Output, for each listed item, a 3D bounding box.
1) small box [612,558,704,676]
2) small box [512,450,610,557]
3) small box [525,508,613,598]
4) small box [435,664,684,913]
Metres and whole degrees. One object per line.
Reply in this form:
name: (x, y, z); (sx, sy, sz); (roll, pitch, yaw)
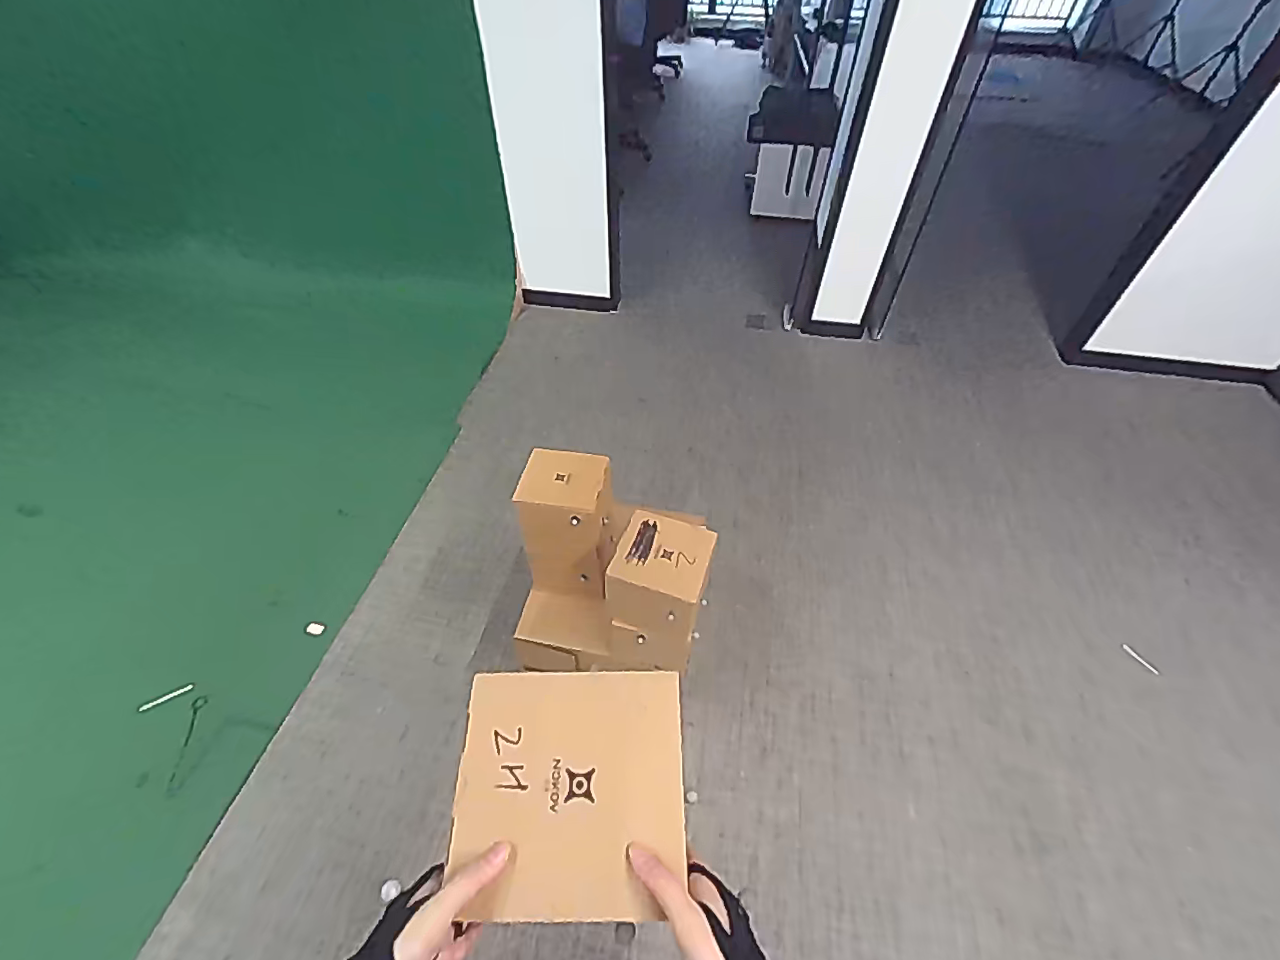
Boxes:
small box: (0.038, 0.306, 1.203); (0.168, 0.176, 0.179); (12, 48, 9)
small box: (-0.168, 0.055, 1.213); (0.179, 0.176, 0.168); (8, 46, 5)
small box: (-0.164, 0.171, 1.328); (0.179, 0.176, 0.168); (6, 46, 6)
small box: (-0.053, 0.270, 0.484); (0.179, 0.176, 0.168); (0, 57, 2)
